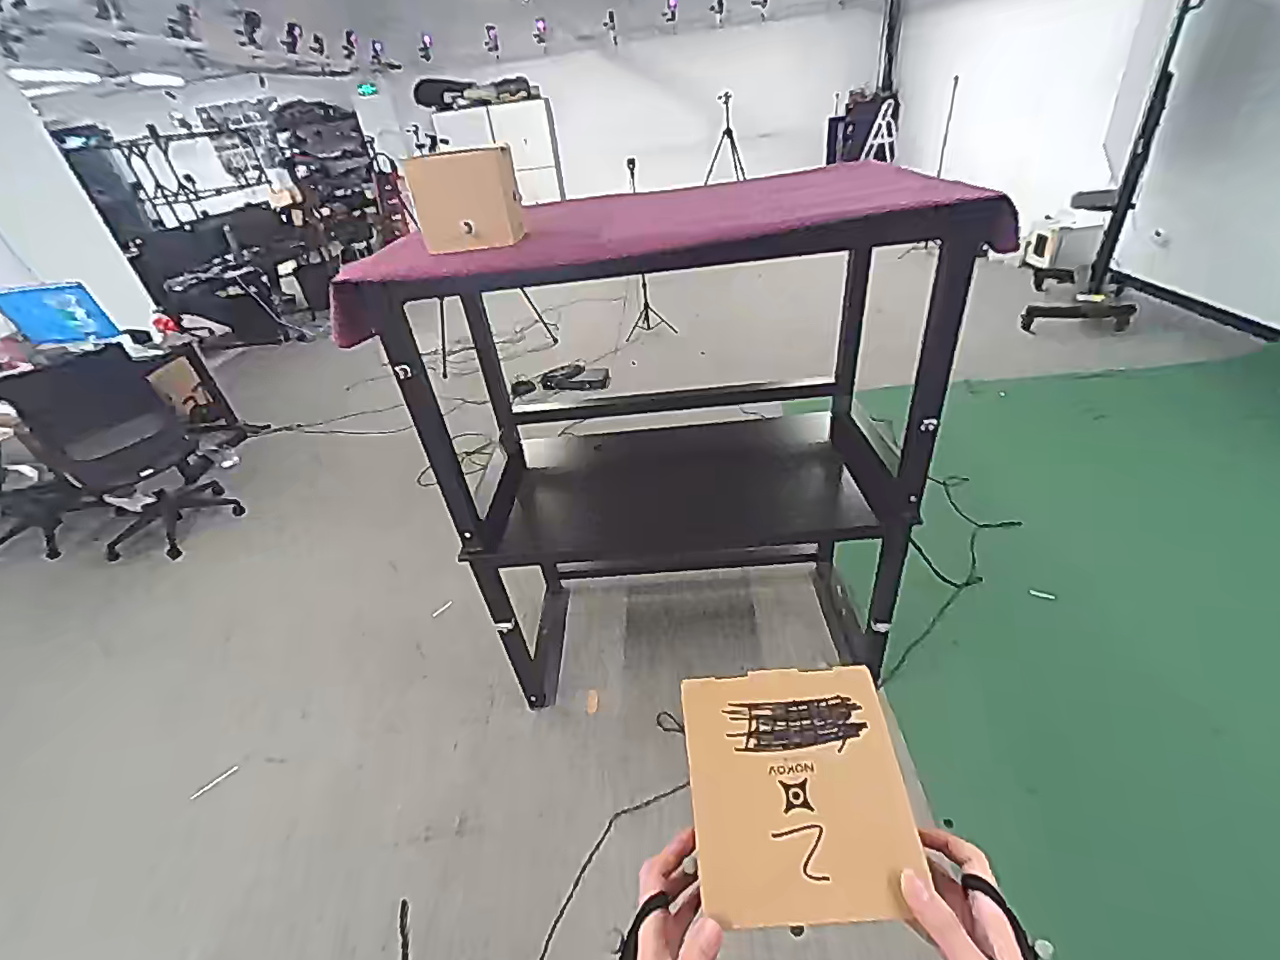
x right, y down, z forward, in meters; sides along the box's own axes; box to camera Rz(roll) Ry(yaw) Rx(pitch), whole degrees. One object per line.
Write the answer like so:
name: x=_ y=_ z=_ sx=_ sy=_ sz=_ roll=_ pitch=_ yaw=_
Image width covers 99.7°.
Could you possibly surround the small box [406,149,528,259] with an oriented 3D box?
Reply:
small box: x=-0.332 y=-0.554 z=1.084 sx=0.179 sy=0.176 sz=0.168 roll=-6 pitch=33 yaw=2
